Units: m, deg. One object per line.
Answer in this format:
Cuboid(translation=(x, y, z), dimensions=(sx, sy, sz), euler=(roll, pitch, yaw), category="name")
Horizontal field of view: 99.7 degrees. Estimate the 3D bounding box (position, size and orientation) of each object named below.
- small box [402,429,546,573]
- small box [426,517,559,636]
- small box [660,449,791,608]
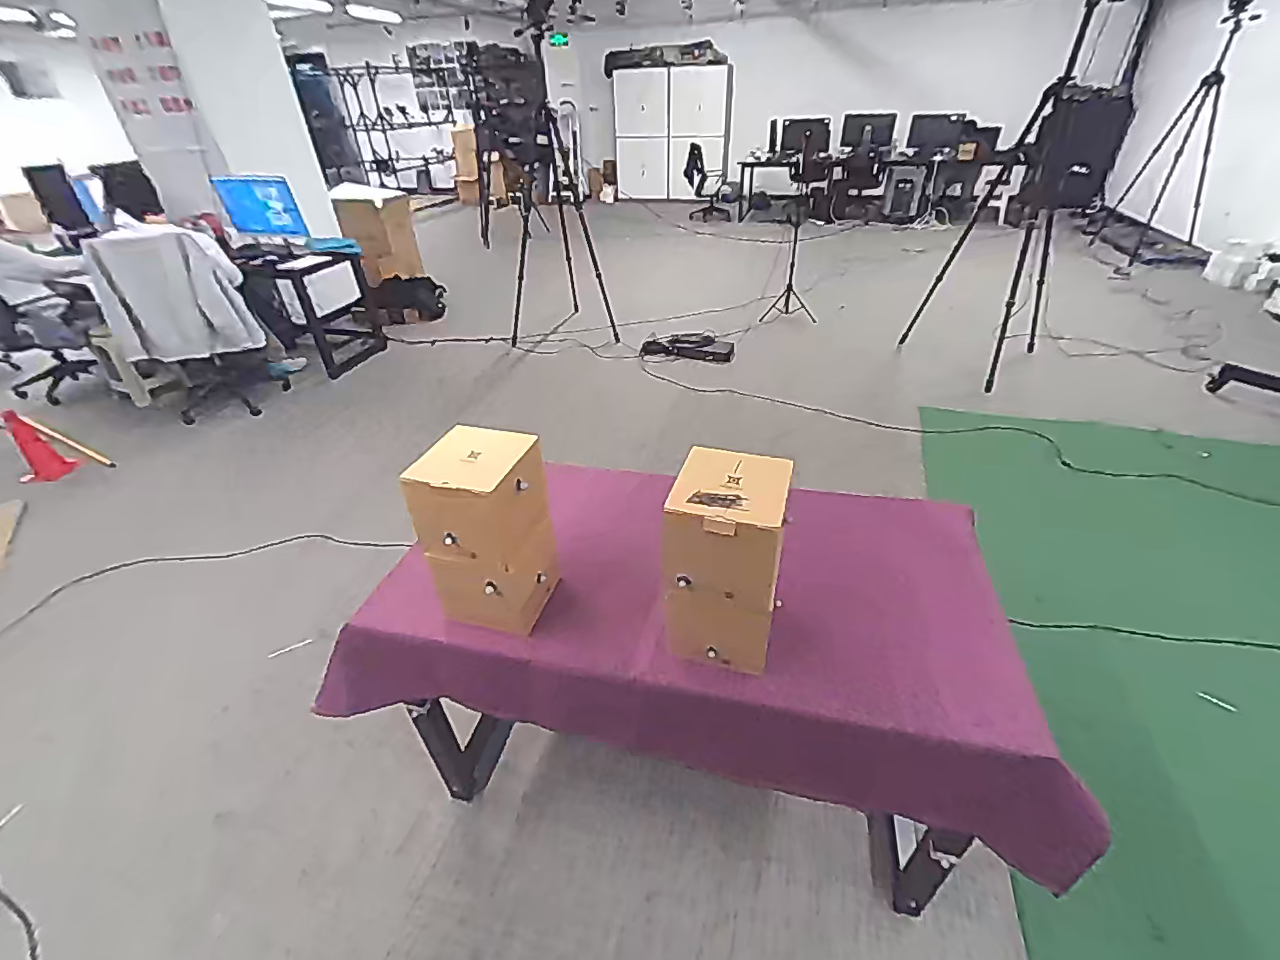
Cuboid(translation=(-0.276, 0.034, 0.945), dimensions=(0.168, 0.176, 0.179), euler=(8, 37, 15), category="small box")
Cuboid(translation=(-0.268, 0.173, 1.031), dimensions=(0.179, 0.176, 0.168), euler=(8, 36, 15), category="small box")
Cuboid(translation=(0.138, 0.074, 0.851), dimensions=(0.168, 0.176, 0.179), euler=(9, 36, 17), category="small box")
